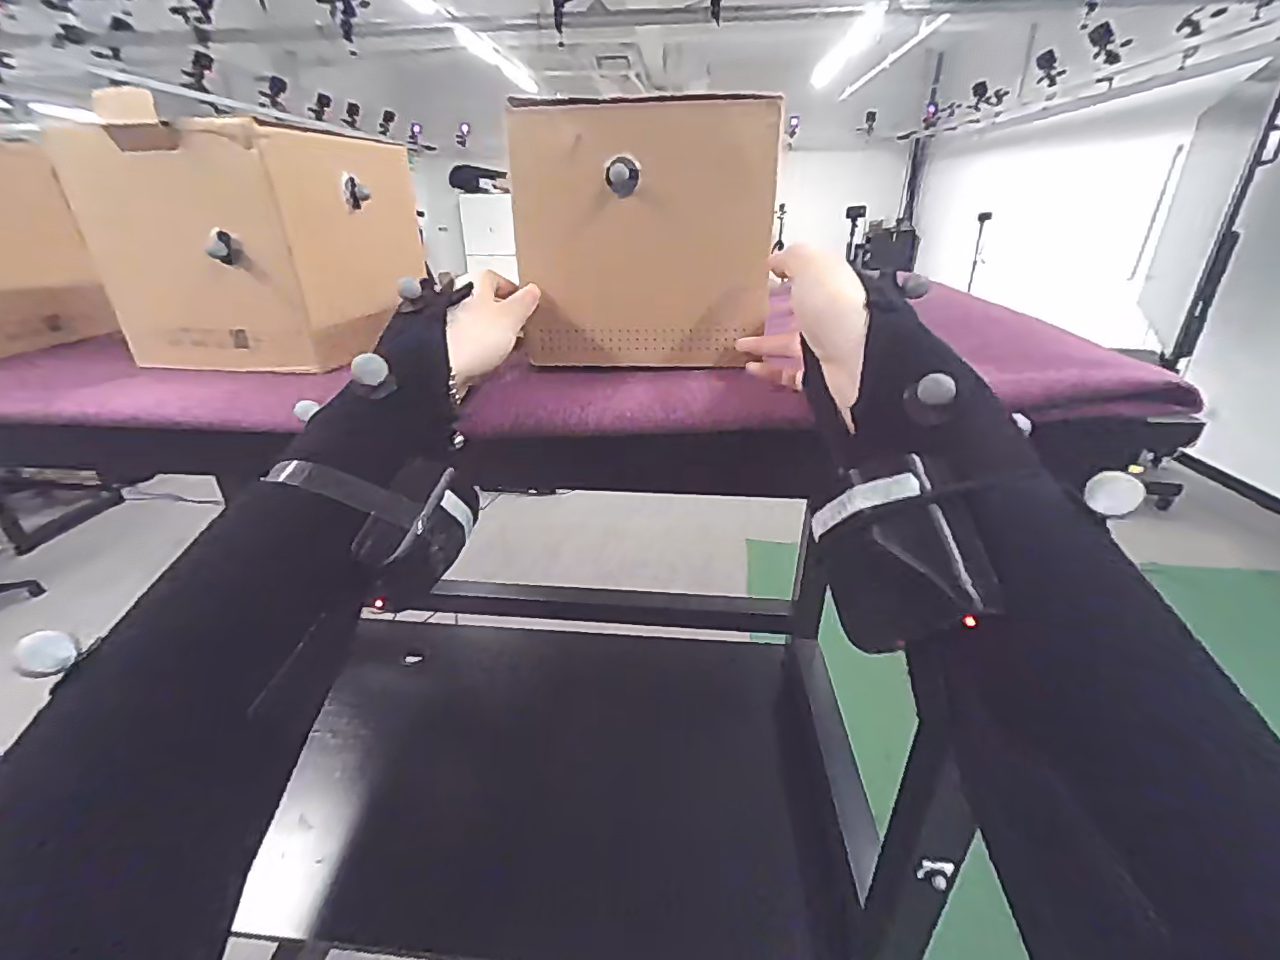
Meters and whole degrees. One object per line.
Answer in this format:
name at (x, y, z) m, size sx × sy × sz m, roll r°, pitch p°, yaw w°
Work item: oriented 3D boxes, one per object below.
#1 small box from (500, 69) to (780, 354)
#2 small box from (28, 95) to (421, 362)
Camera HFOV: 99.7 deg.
small box at (0.007, -0.197, 0.429) m, size 0.179 × 0.176 × 0.168 m, roll 2°, pitch 25°, yaw 5°
small box at (-0.305, -0.200, 0.448) m, size 0.168 × 0.176 × 0.179 m, roll 4°, pitch 26°, yaw 7°
